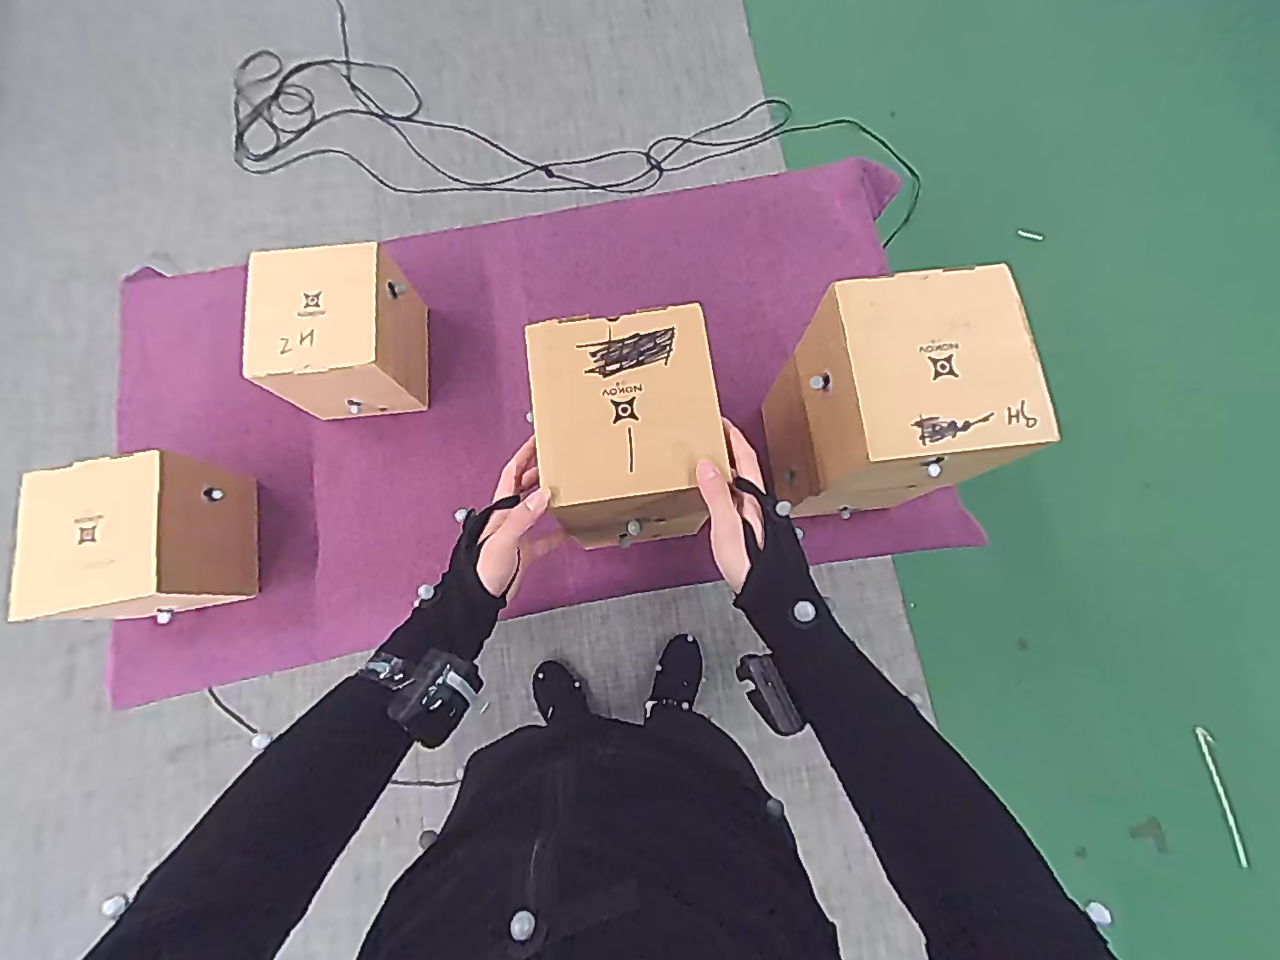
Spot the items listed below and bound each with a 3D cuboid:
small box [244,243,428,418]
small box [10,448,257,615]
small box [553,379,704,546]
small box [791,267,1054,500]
[{"bbox_3d":[-0.412,-0.201,0.761,0.168,0.176,0.179,-5,78,0],"label":"small box"},{"bbox_3d":[-0.634,0.076,0.702,0.168,0.176,0.179,-10,77,-1],"label":"small box"},{"bbox_3d":[-0.013,-0.011,0.716,0.168,0.176,0.179,-8,76,-1],"label":"small box"},{"bbox_3d":[0.265,-0.088,0.557,0.168,0.176,0.179,-6,76,1],"label":"small box"}]
